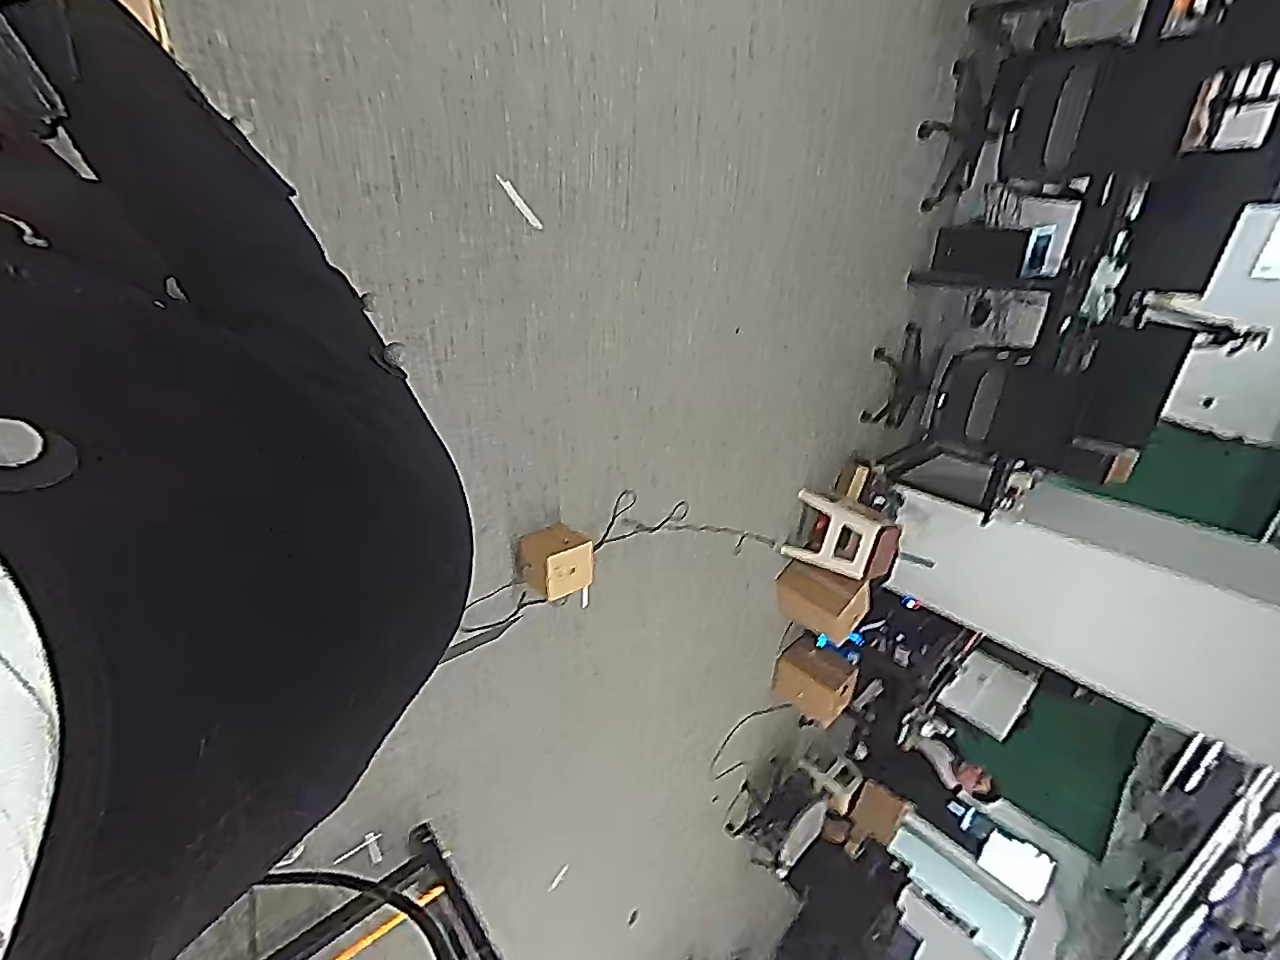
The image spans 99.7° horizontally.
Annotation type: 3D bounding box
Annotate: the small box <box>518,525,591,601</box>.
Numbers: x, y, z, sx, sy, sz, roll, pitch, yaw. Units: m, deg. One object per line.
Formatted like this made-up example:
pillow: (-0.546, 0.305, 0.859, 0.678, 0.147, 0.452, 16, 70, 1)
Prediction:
small box: (-0.282, 0.266, 1.786, 0.179, 0.176, 0.168, -17, 118, -39)
